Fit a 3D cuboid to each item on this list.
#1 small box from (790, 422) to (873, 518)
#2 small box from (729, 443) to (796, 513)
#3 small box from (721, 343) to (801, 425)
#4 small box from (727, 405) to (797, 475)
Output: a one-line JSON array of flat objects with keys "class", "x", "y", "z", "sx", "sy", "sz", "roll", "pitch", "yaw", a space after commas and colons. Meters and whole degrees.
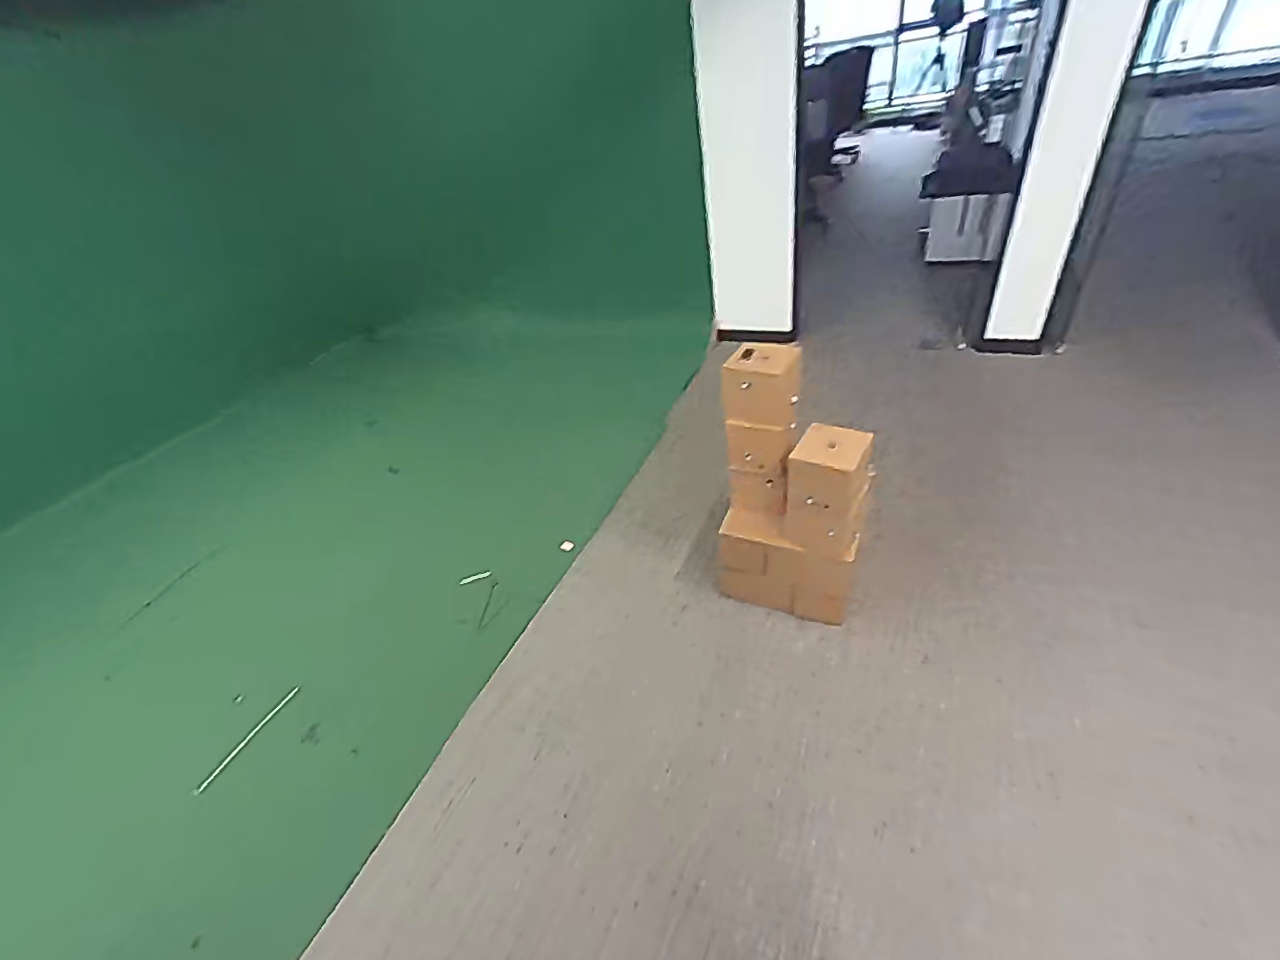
[{"class": "small box", "x": 0.510, "y": -0.029, "z": 1.458, "sx": 0.168, "sy": 0.176, "sz": 0.179, "roll": 16, "pitch": 46, "yaw": 31}, {"class": "small box", "x": 0.398, "y": -0.014, "z": 1.737, "sx": 0.179, "sy": 0.176, "sz": 0.168, "roll": 9, "pitch": 40, "yaw": 24}, {"class": "small box", "x": 0.348, "y": -0.275, "z": 1.547, "sx": 0.179, "sy": 0.176, "sz": 0.168, "roll": 15, "pitch": 45, "yaw": 29}, {"class": "small box", "x": 0.370, "y": -0.141, "z": 1.640, "sx": 0.168, "sy": 0.176, "sz": 0.179, "roll": 10, "pitch": 43, "yaw": 26}]
